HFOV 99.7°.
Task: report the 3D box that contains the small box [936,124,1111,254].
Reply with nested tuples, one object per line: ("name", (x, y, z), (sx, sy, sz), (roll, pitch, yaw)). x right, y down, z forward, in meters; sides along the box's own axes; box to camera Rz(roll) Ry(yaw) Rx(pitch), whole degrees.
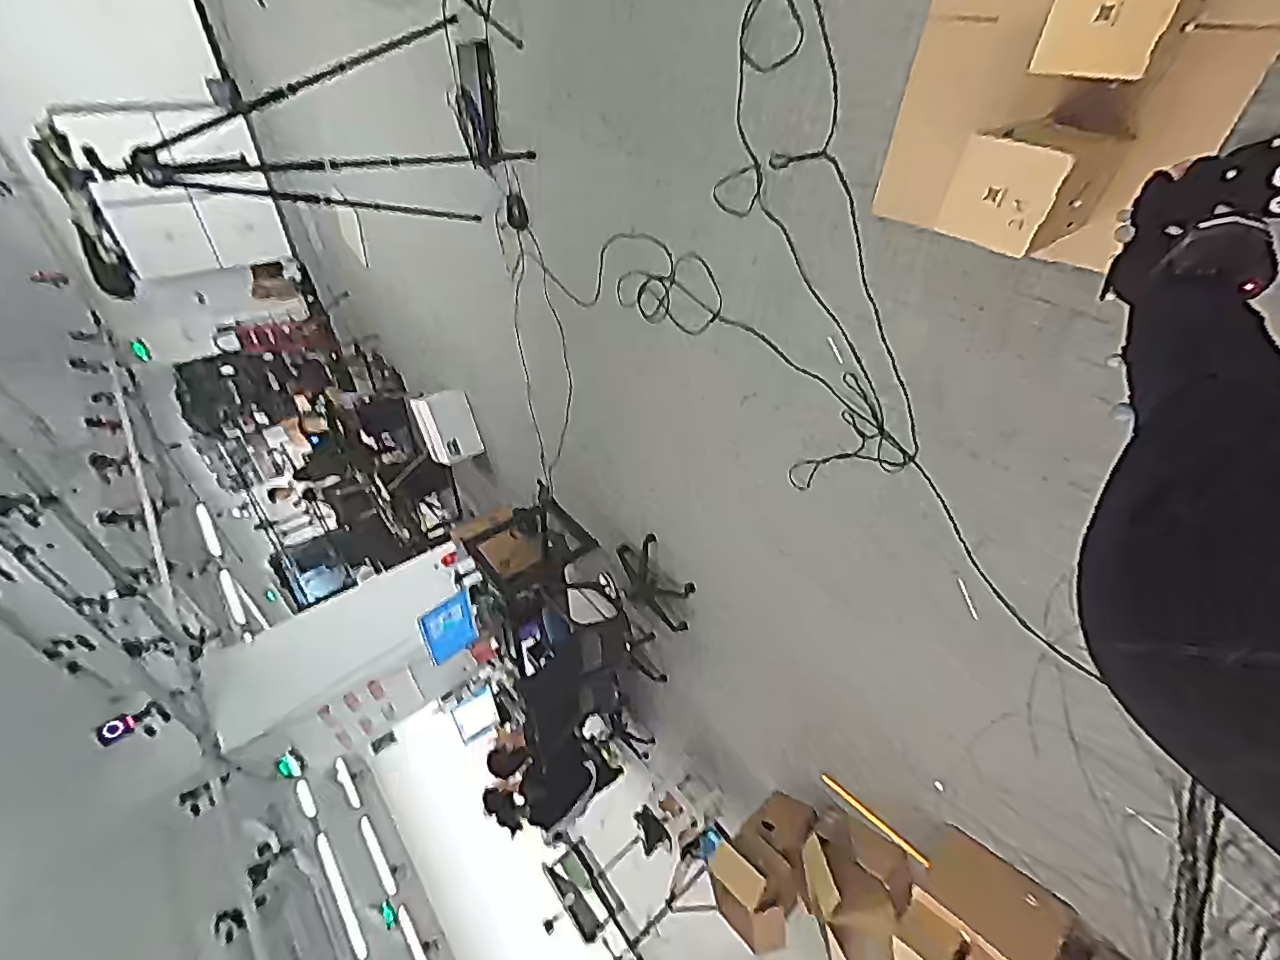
("small box", (0.695, -0.539, 0.989), (0.179, 0.176, 0.168), (40, 144, 32))

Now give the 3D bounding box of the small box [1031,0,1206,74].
("small box", (0.824, -0.798, 0.918), (0.179, 0.176, 0.168), (36, 140, 35))
